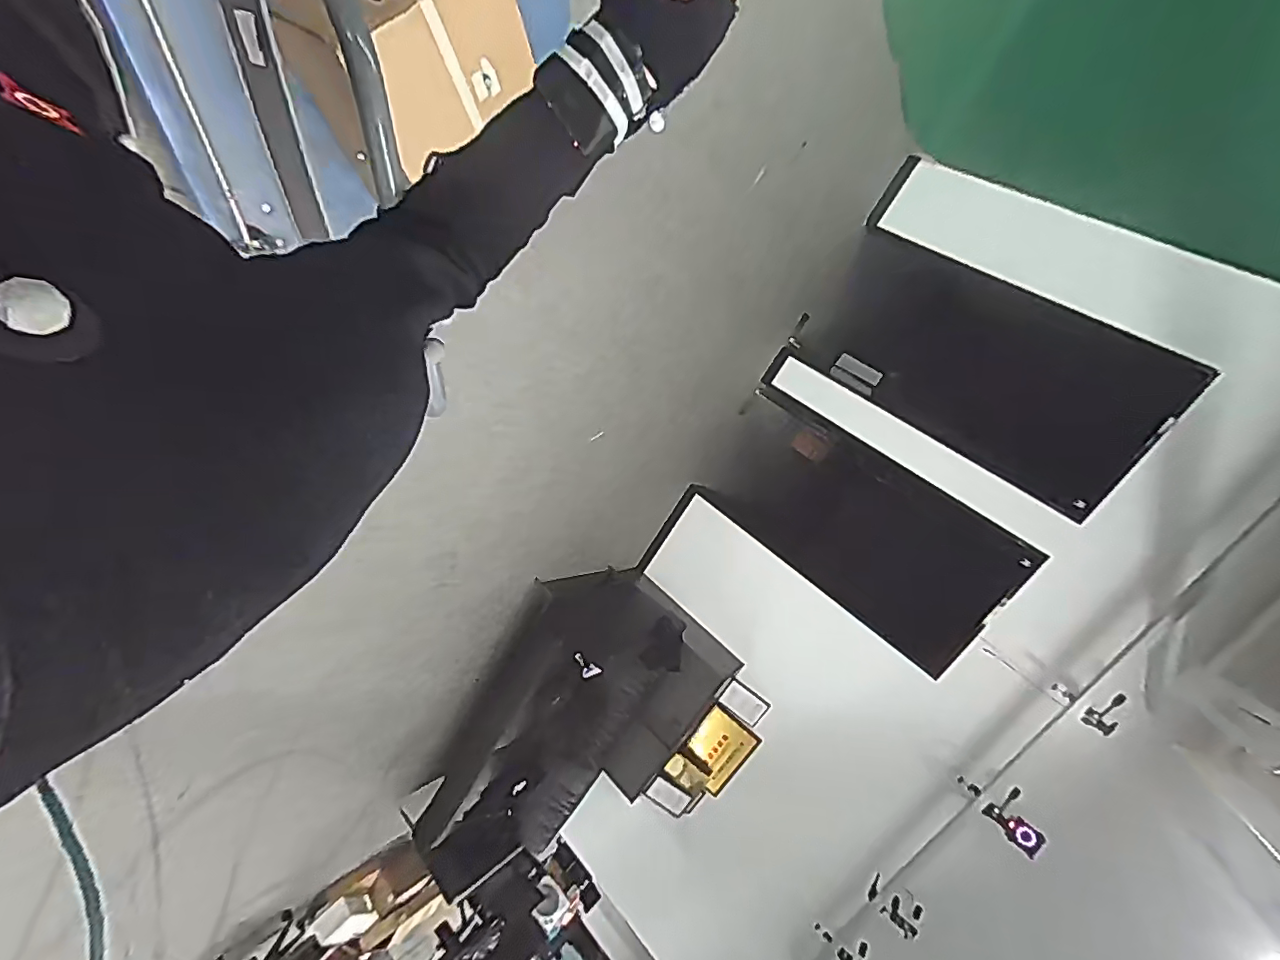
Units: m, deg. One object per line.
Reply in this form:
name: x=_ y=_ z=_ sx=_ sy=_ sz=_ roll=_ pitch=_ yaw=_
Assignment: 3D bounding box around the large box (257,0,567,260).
large box: x=-0.401 y=-0.725 z=1.035 sx=0.320 sy=0.320 sz=0.408 roll=-44 pitch=154 yaw=-12
